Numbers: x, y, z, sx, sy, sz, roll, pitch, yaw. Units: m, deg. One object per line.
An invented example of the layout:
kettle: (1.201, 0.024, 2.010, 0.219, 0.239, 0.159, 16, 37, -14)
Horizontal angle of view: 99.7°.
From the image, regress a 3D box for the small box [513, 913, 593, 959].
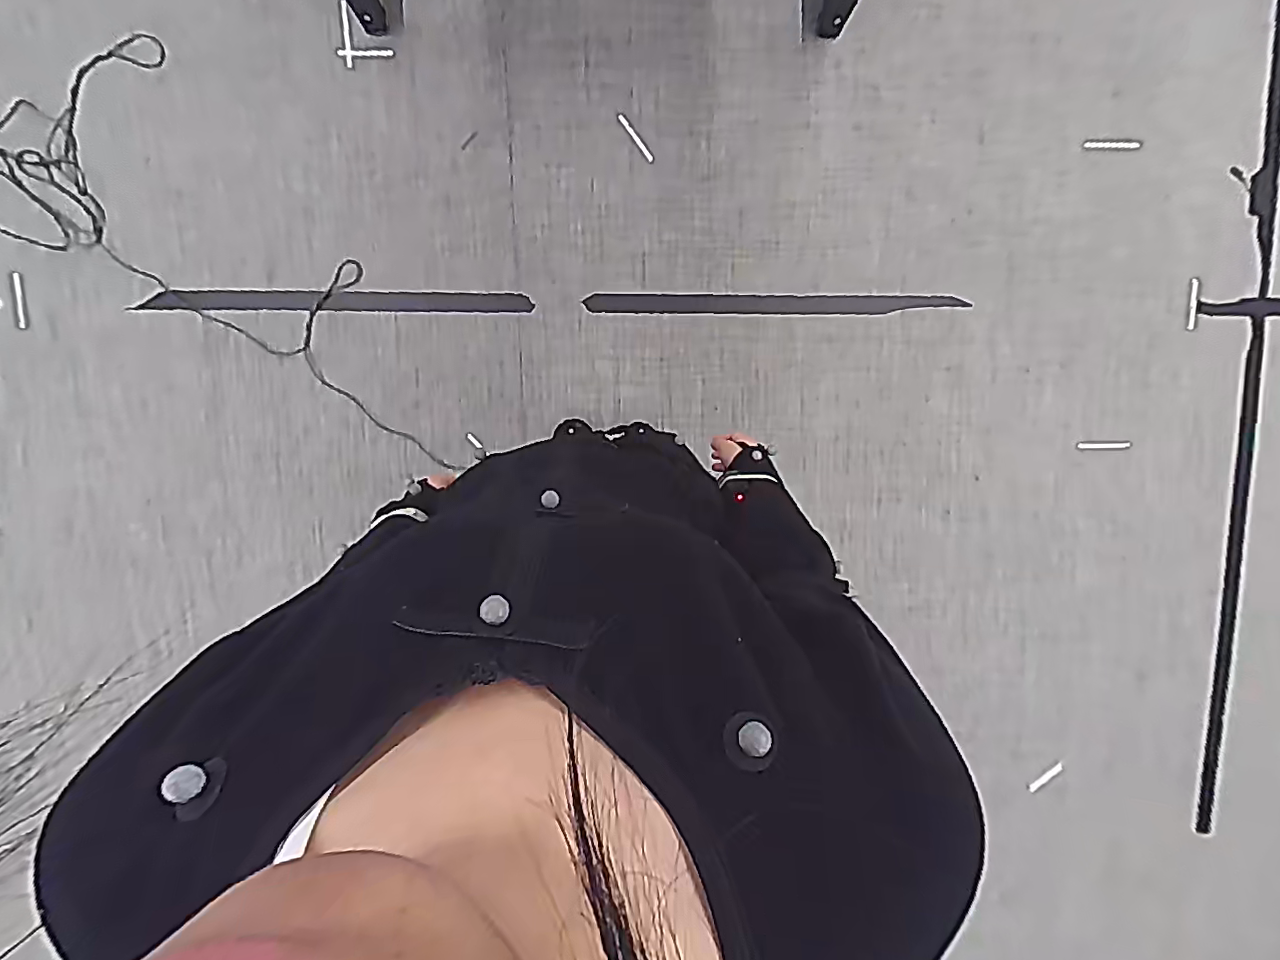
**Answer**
small box: (-0.197, 1.131, 1.230, 0.179, 0.176, 0.168, -2, 94, -1)
